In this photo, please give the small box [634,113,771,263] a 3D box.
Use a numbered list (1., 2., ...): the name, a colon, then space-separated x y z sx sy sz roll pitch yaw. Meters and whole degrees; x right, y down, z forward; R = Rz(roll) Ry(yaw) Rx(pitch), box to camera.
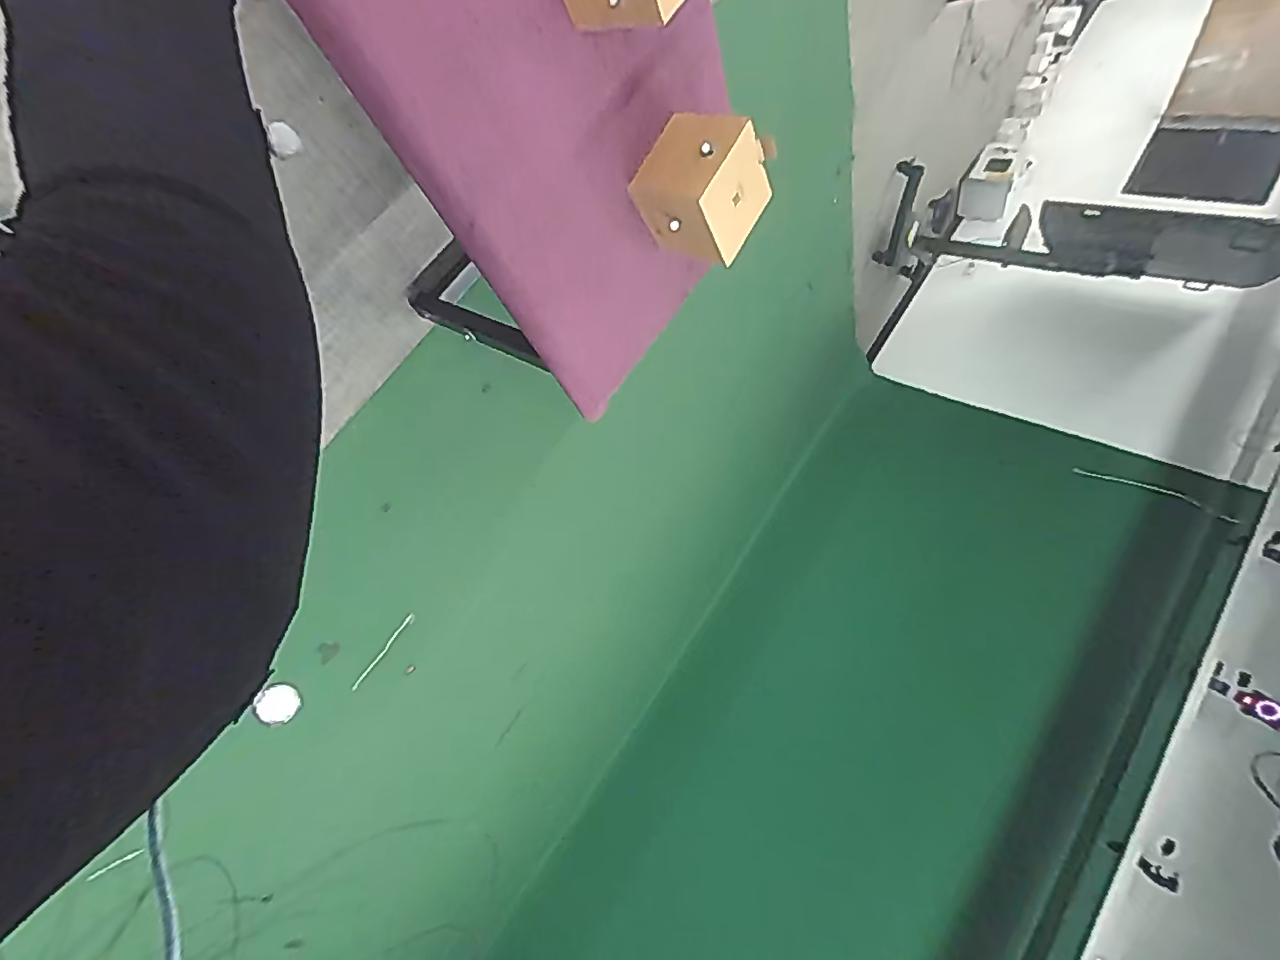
1. small box: 0.111 -0.536 0.997 0.179 0.176 0.168 -59 147 -5
